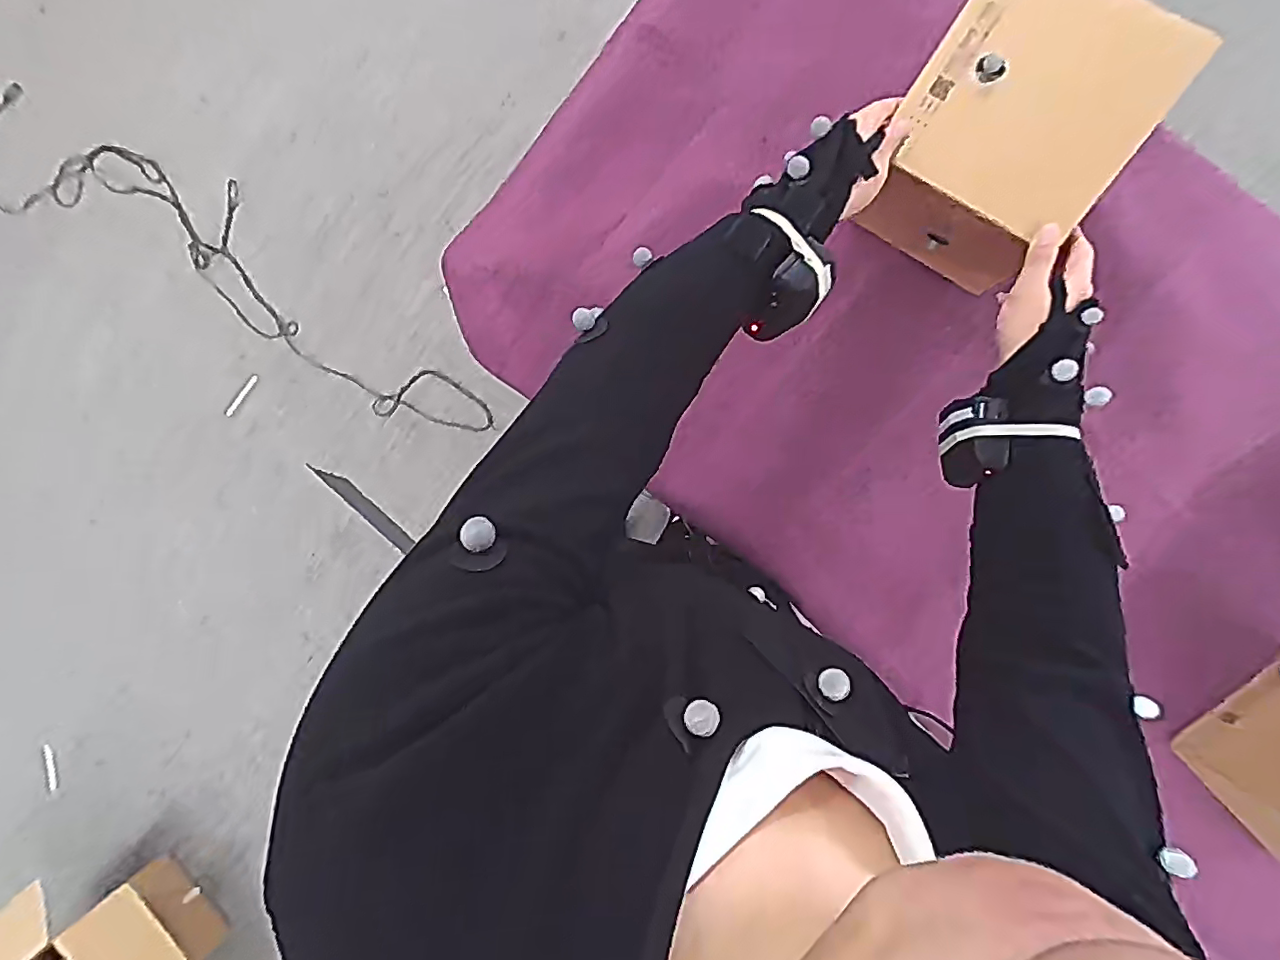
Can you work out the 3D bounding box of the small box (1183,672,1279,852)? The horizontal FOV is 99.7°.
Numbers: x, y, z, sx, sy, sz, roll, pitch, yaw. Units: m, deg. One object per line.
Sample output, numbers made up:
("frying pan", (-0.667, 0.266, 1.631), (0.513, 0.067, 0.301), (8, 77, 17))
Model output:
("small box", (0.695, 0.300, 0.506), (0.168, 0.176, 0.179), (-43, 89, 6))
